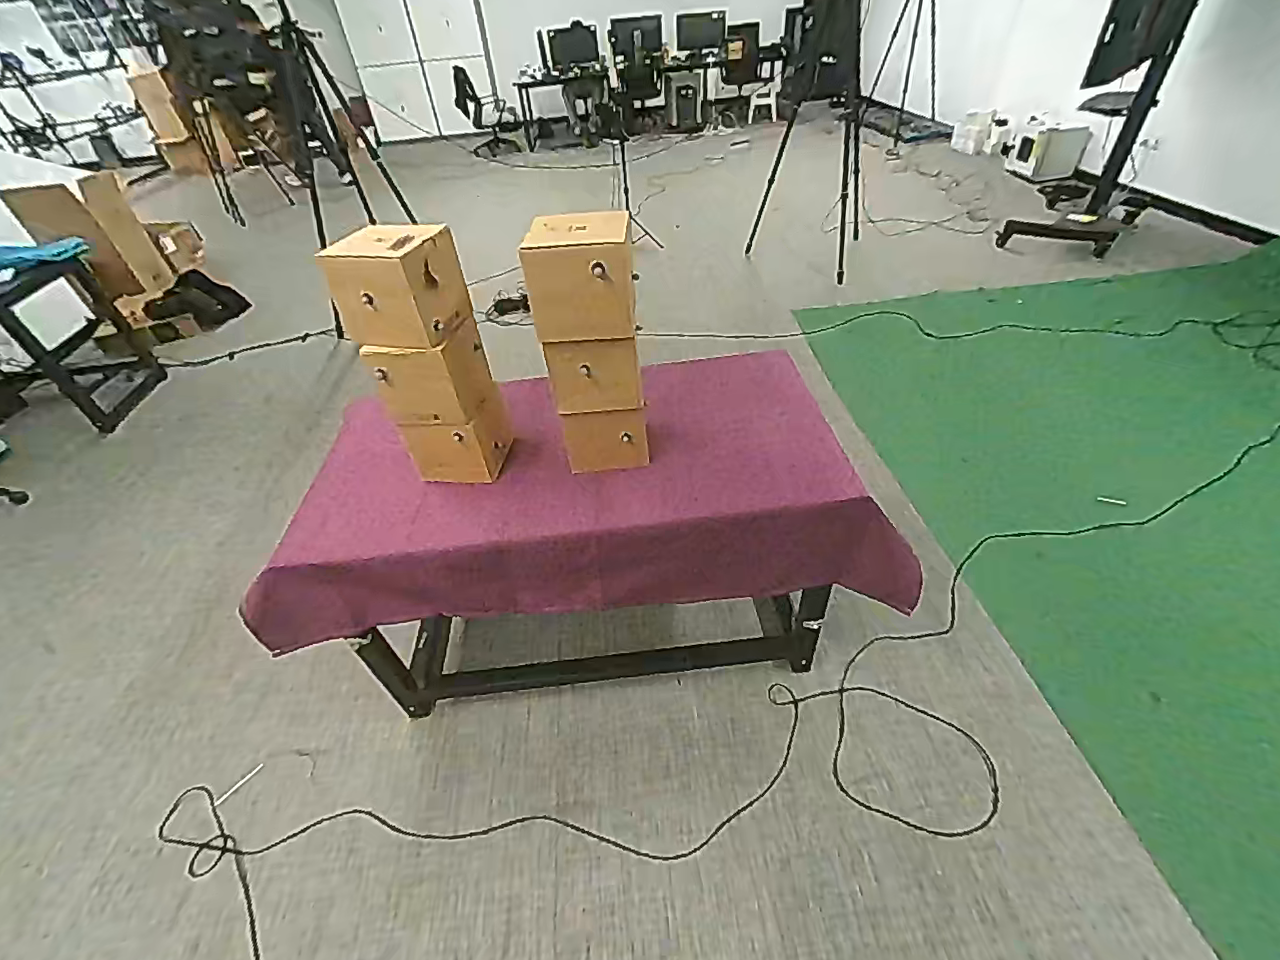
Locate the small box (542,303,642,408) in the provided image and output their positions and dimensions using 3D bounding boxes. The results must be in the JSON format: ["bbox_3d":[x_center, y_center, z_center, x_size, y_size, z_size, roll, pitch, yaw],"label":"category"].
[{"bbox_3d":[-0.091,-0.261,1.111,0.179,0.176,0.168,-4,42,3],"label":"small box"}]

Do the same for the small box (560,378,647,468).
[{"bbox_3d":[-0.076,-0.145,1.226,0.179,0.176,0.168,-6,41,1],"label":"small box"}]

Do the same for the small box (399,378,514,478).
[{"bbox_3d":[-0.408,-0.117,1.236,0.179,0.176,0.168,1,43,7],"label":"small box"}]

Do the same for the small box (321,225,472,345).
[{"bbox_3d":[-0.447,-0.369,1.028,0.179,0.176,0.168,6,42,13],"label":"small box"}]

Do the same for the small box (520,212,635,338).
[{"bbox_3d":[-0.102,-0.373,0.990,0.179,0.176,0.168,-2,41,4],"label":"small box"}]
